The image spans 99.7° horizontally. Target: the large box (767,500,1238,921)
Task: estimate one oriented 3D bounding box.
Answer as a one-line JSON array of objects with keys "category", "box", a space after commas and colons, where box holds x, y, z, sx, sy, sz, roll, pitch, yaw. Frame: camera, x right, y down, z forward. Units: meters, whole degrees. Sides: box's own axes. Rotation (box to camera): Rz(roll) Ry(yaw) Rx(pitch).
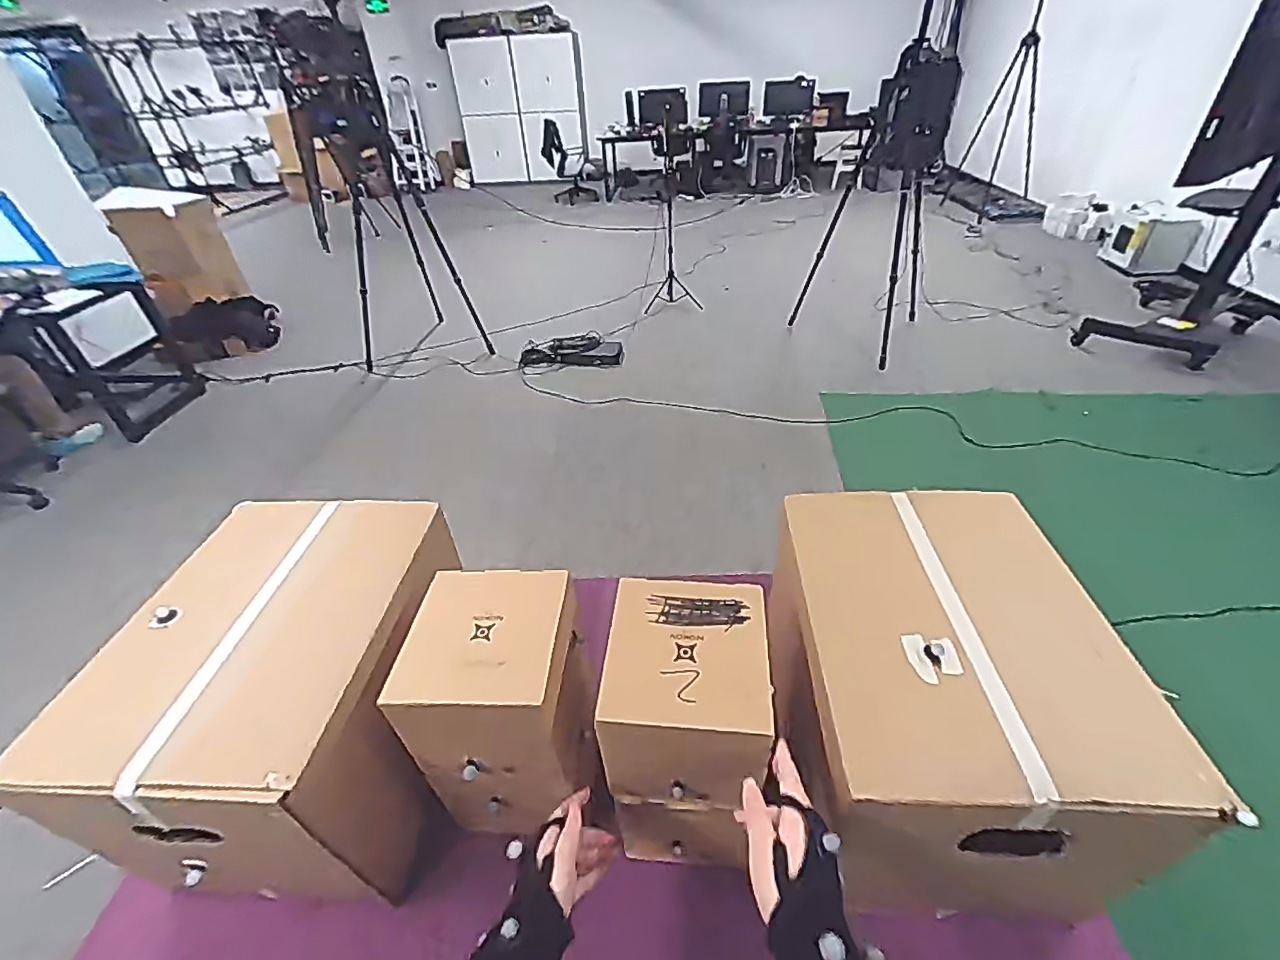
[{"category": "large box", "box": [0.359, 0.272, 0.701, 0.320, 0.320, 0.408, 0, 39, 5]}]
